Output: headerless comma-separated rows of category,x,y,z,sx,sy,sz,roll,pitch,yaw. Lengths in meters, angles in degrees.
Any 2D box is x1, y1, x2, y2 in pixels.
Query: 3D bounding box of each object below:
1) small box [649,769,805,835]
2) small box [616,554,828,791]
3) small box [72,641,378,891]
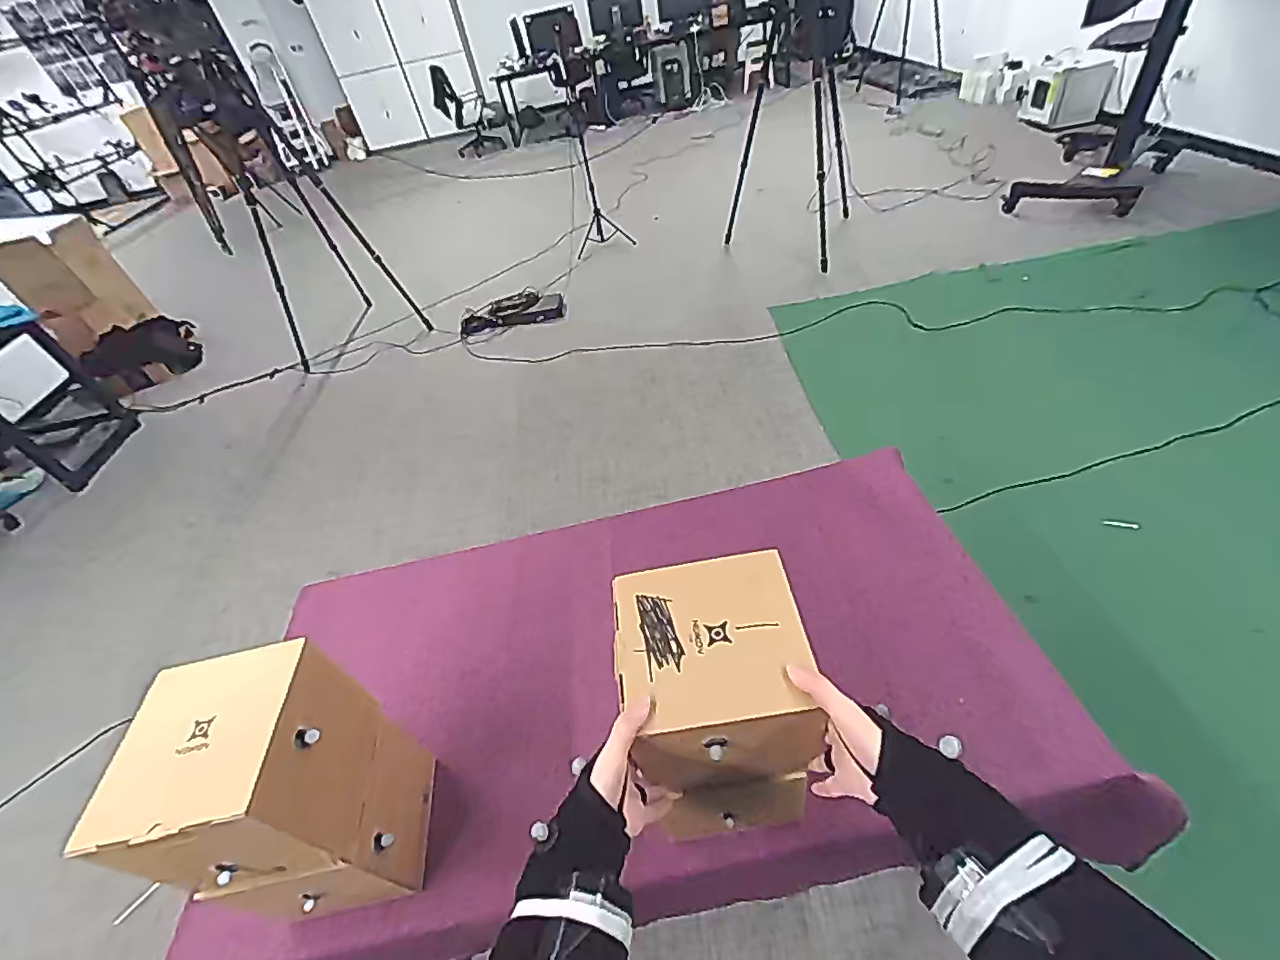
small box,0.099,0.323,0.676,0.168,0.176,0.179,-10,44,2
small box,0.079,0.204,0.562,0.179,0.176,0.168,-10,46,3
small box,-0.408,0.305,0.578,0.168,0.176,0.179,-13,44,0
